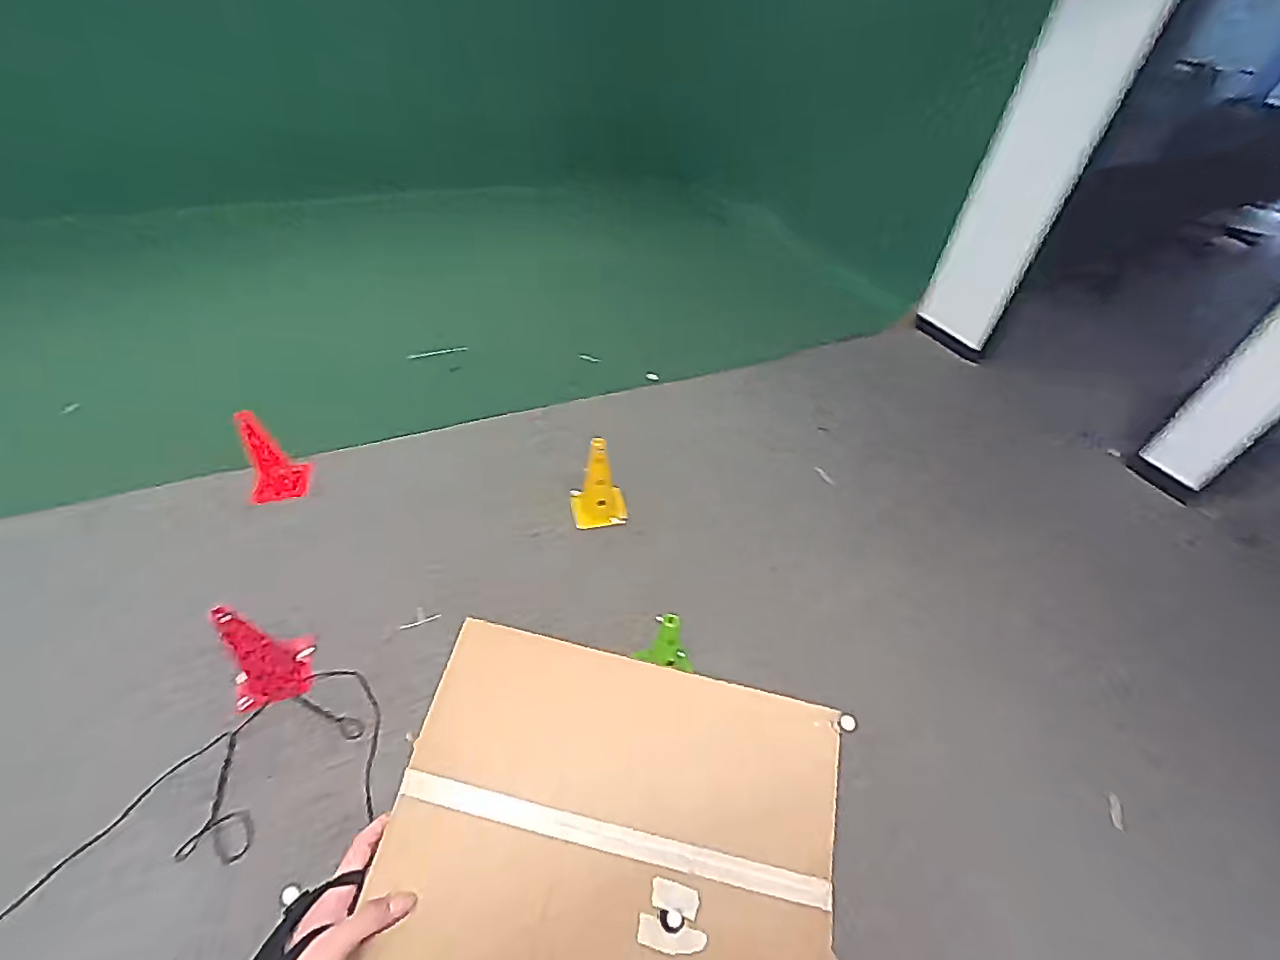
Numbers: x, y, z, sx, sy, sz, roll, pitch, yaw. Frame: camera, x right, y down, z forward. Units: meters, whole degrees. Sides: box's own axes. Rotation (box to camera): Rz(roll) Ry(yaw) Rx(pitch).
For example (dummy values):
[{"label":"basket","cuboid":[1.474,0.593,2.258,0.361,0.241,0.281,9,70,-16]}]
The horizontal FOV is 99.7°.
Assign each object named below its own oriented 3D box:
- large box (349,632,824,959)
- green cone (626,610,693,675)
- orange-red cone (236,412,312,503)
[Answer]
[{"label":"large box","cuboid":[-0.038,0.399,0.637,0.408,0.320,0.320,11,63,3]},{"label":"green cone","cuboid":[0.080,0.503,1.587,0.200,0.368,0.202,-10,45,-14]},{"label":"orange-red cone","cuboid":[-1.453,-0.108,2.082,0.199,0.360,0.198,-10,46,-12]}]
